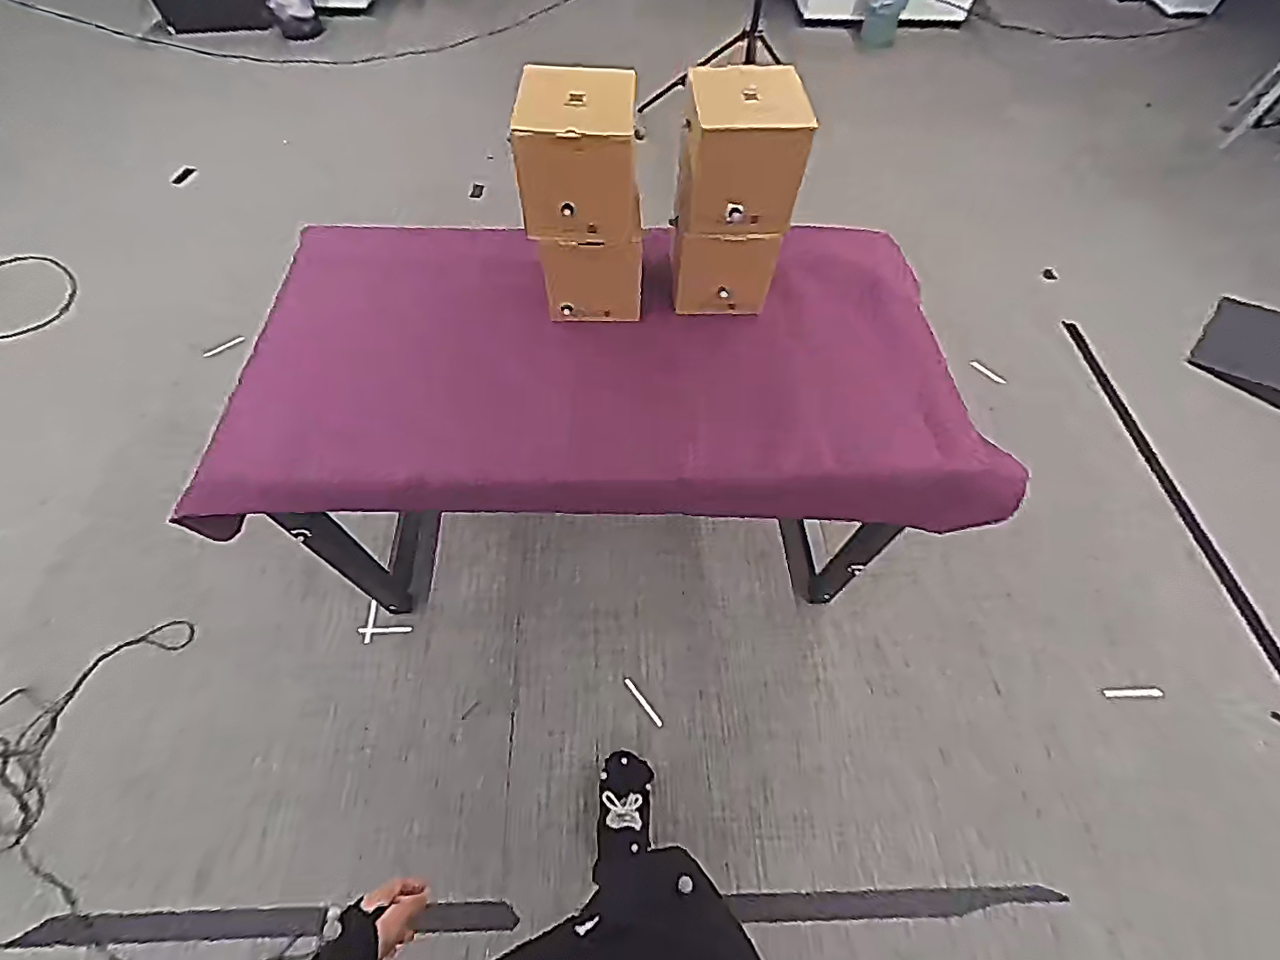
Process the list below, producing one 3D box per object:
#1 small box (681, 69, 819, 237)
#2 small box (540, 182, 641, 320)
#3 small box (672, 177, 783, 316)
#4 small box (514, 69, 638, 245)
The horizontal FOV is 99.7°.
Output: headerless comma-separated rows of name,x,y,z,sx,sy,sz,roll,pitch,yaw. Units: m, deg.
small box,0.159,-0.511,0.853,0.168,0.176,0.179,-3,61,-3
small box,-0.082,-0.405,0.971,0.168,0.176,0.179,-1,60,-3
small box,0.149,-0.426,0.991,0.168,0.176,0.179,-1,61,-2
small box,-0.090,-0.491,0.832,0.168,0.176,0.179,1,61,-1
